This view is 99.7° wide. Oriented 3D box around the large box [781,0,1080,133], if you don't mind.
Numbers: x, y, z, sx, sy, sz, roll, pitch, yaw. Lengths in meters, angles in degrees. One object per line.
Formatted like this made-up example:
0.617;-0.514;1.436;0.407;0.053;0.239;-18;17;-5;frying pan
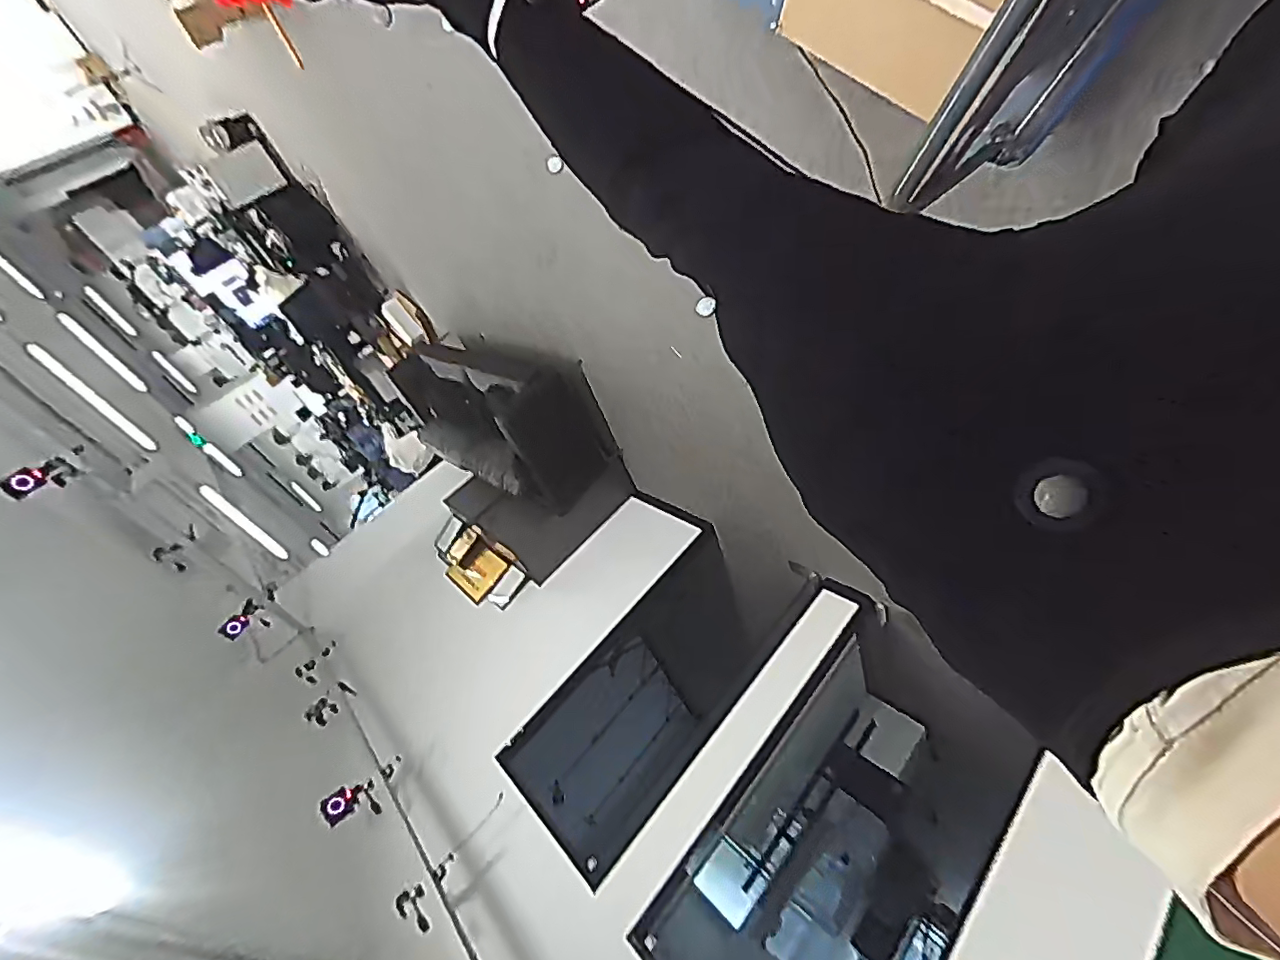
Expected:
0.526;-0.884;0.900;0.408;0.320;0.320;42;158;13;large box
